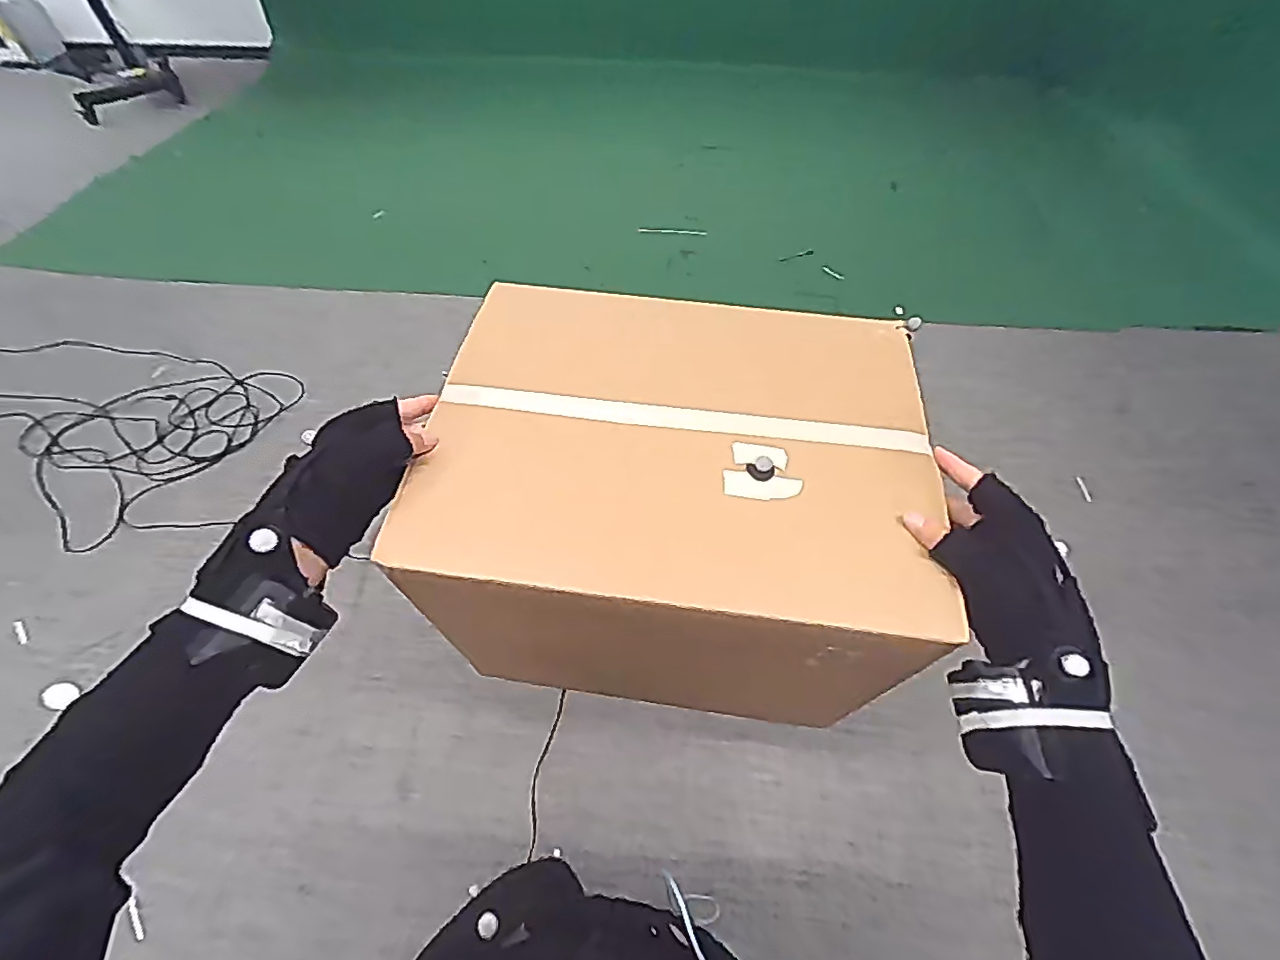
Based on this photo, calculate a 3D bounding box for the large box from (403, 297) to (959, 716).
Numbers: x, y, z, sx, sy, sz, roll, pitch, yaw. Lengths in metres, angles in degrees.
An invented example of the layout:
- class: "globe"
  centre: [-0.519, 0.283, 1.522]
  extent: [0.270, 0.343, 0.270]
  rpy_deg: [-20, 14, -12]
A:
- class: "large box"
  centre: [0.036, 0.041, 0.584]
  extent: [0.408, 0.320, 0.320]
  rpy_deg: [7, 57, 3]
